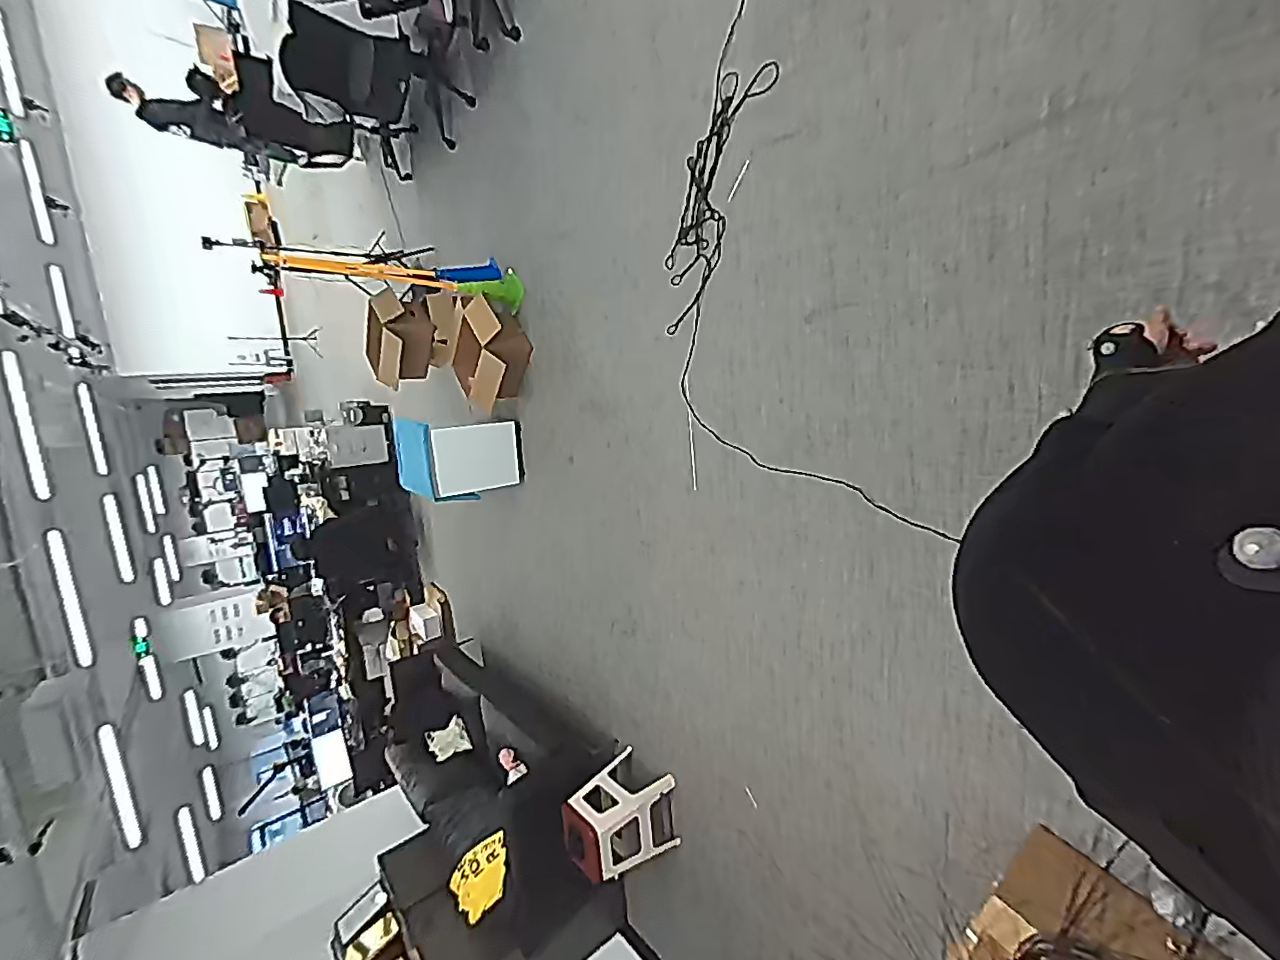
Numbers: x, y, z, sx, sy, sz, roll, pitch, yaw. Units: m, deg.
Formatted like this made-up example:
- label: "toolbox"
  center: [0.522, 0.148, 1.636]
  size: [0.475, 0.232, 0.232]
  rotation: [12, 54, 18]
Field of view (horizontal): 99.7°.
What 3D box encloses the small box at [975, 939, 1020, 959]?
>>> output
- label: "small box"
  center: [0.801, 1.184, 1.189]
  size: [0.168, 0.176, 0.179]
  rotation: [32, 125, 43]
